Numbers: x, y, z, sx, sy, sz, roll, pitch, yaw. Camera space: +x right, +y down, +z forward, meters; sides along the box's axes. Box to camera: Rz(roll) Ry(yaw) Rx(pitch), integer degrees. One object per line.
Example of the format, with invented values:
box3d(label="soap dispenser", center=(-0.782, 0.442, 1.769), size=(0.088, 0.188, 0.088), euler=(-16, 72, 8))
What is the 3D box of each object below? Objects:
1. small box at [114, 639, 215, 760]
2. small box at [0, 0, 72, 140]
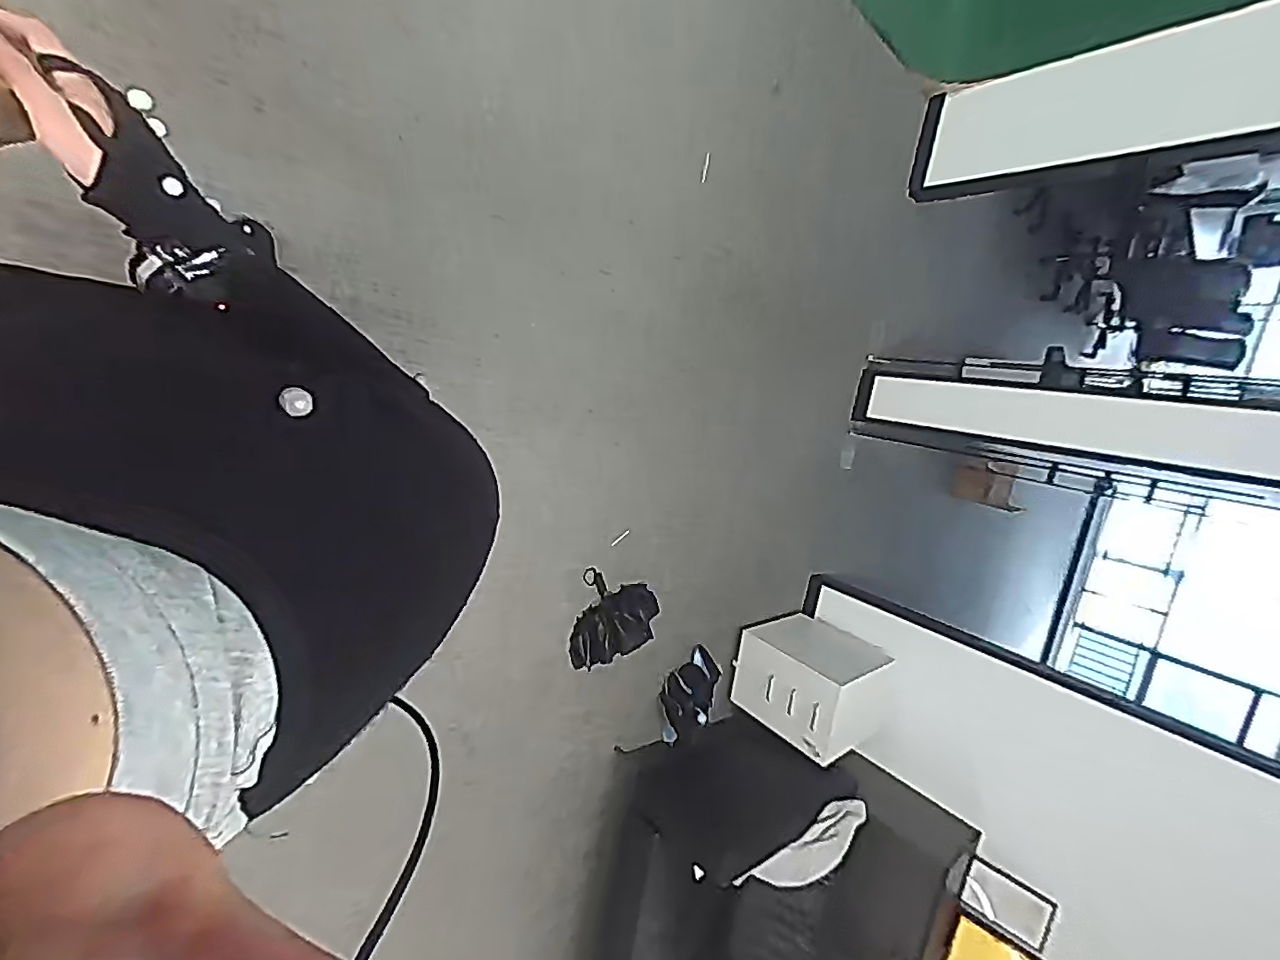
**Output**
box3d(label="small box", center=(-1.088, 0.496, 1.247), size=(0.168, 0.176, 0.179), euler=(-3, 105, -40))
box3d(label="small box", center=(-0.528, -0.310, 0.332), size=(0.168, 0.176, 0.179), euler=(-27, 122, -17))
